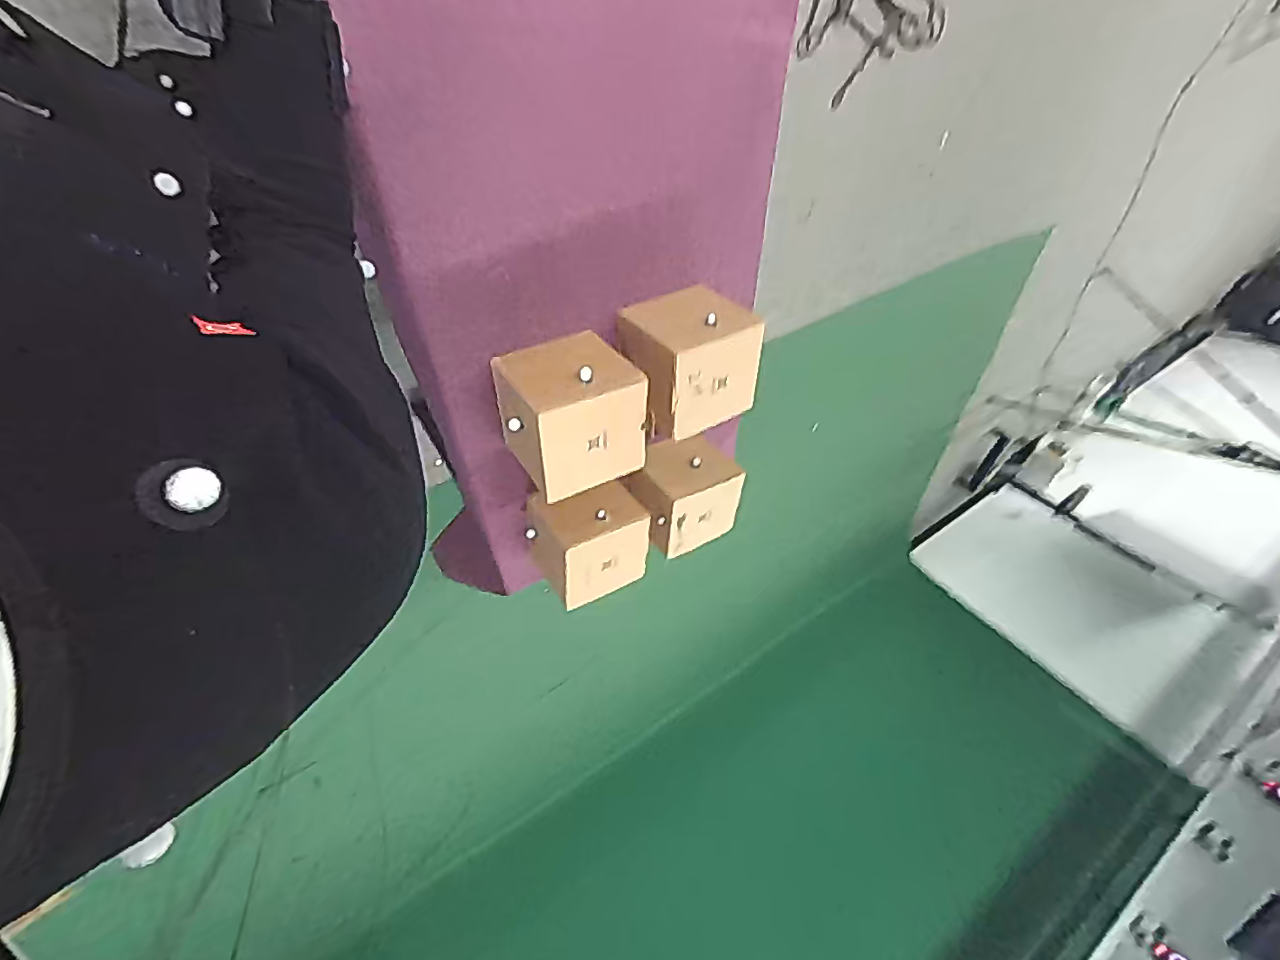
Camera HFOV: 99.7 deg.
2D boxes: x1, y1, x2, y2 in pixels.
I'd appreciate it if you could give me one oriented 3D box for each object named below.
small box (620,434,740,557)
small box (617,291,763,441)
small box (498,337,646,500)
[{"bbox_3d":[0.078,0.024,1.137,0.179,0.176,0.168,-22,137,-27],"label":"small box"},{"bbox_3d":[0.077,-0.201,0.918,0.179,0.176,0.168,-24,139,-24],"label":"small box"},{"bbox_3d":[-0.110,-0.102,0.844,0.179,0.176,0.168,-22,137,-25],"label":"small box"}]
